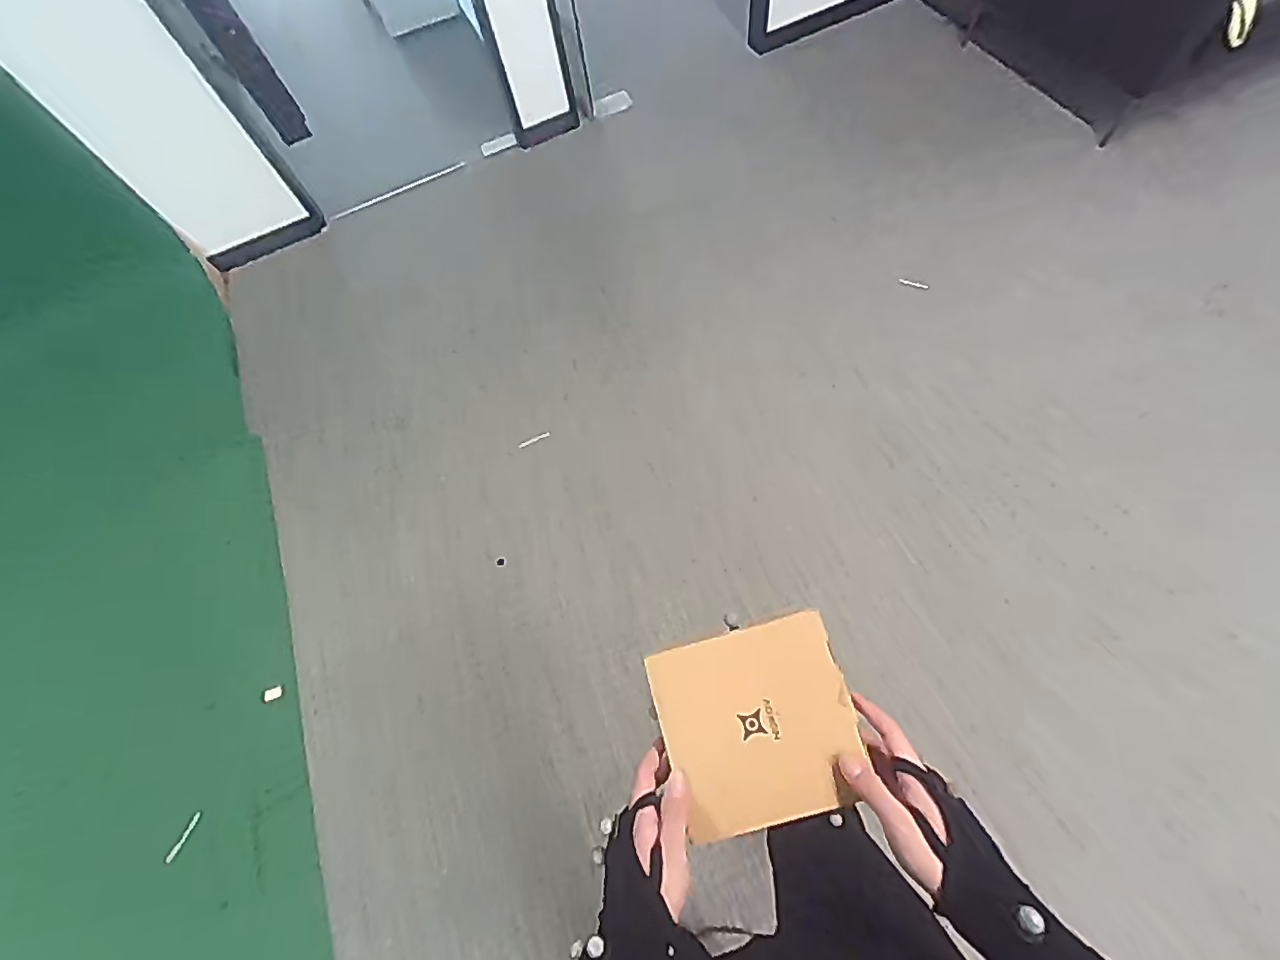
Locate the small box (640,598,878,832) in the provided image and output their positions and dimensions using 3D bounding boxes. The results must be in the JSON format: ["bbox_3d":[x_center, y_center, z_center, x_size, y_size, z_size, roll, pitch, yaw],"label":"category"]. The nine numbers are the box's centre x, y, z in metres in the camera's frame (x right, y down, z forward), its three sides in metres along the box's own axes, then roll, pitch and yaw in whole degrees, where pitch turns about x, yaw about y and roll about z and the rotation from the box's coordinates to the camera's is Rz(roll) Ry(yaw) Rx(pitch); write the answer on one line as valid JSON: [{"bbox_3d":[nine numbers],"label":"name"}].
[{"bbox_3d":[0.110,0.228,0.562,0.179,0.176,0.168,-16,75,0],"label":"small box"}]
